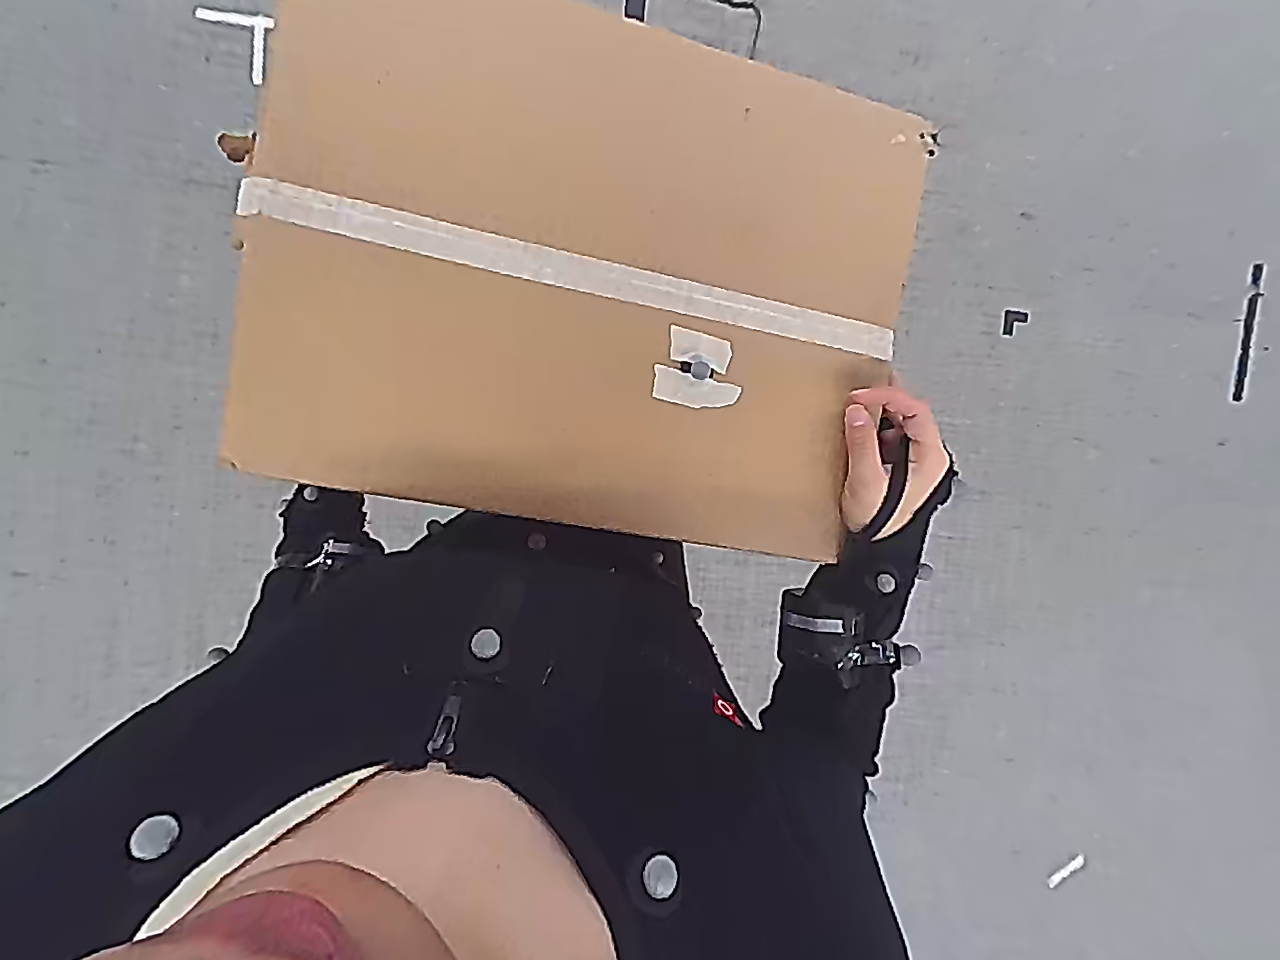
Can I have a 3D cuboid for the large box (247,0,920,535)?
[{"bbox_3d":[-0.047,-0.150,0.493,0.408,0.320,0.320,10,94,-12],"label":"large box"}]
